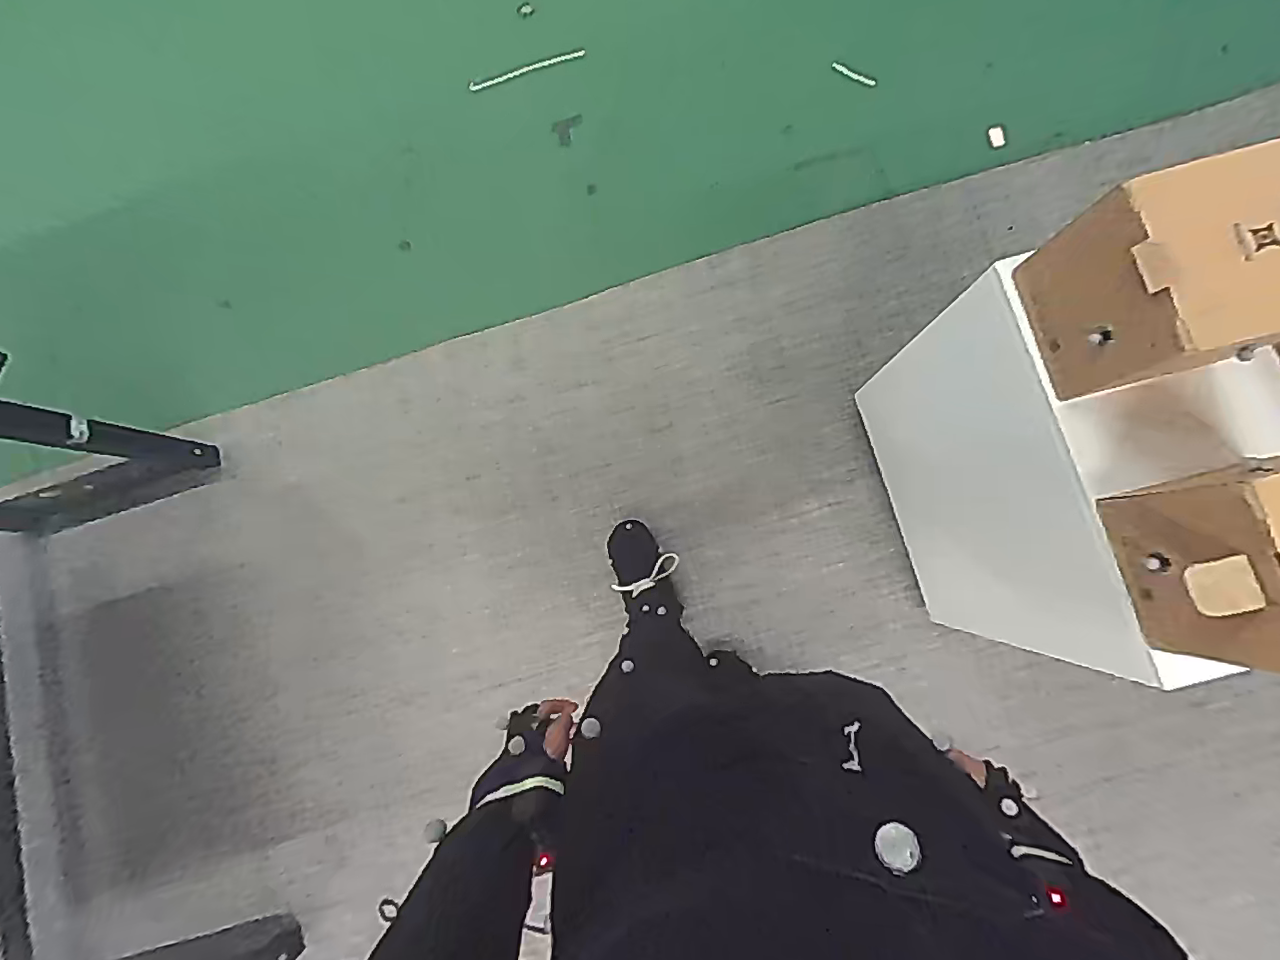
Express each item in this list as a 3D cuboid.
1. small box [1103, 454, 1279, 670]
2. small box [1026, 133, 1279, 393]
[{"bbox_3d":[0.598,0.064,0.498,0.179,0.176,0.168,-15,82,3],"label":"small box"},{"bbox_3d":[0.530,-0.200,0.538,0.179,0.176,0.168,-15,83,1],"label":"small box"}]
